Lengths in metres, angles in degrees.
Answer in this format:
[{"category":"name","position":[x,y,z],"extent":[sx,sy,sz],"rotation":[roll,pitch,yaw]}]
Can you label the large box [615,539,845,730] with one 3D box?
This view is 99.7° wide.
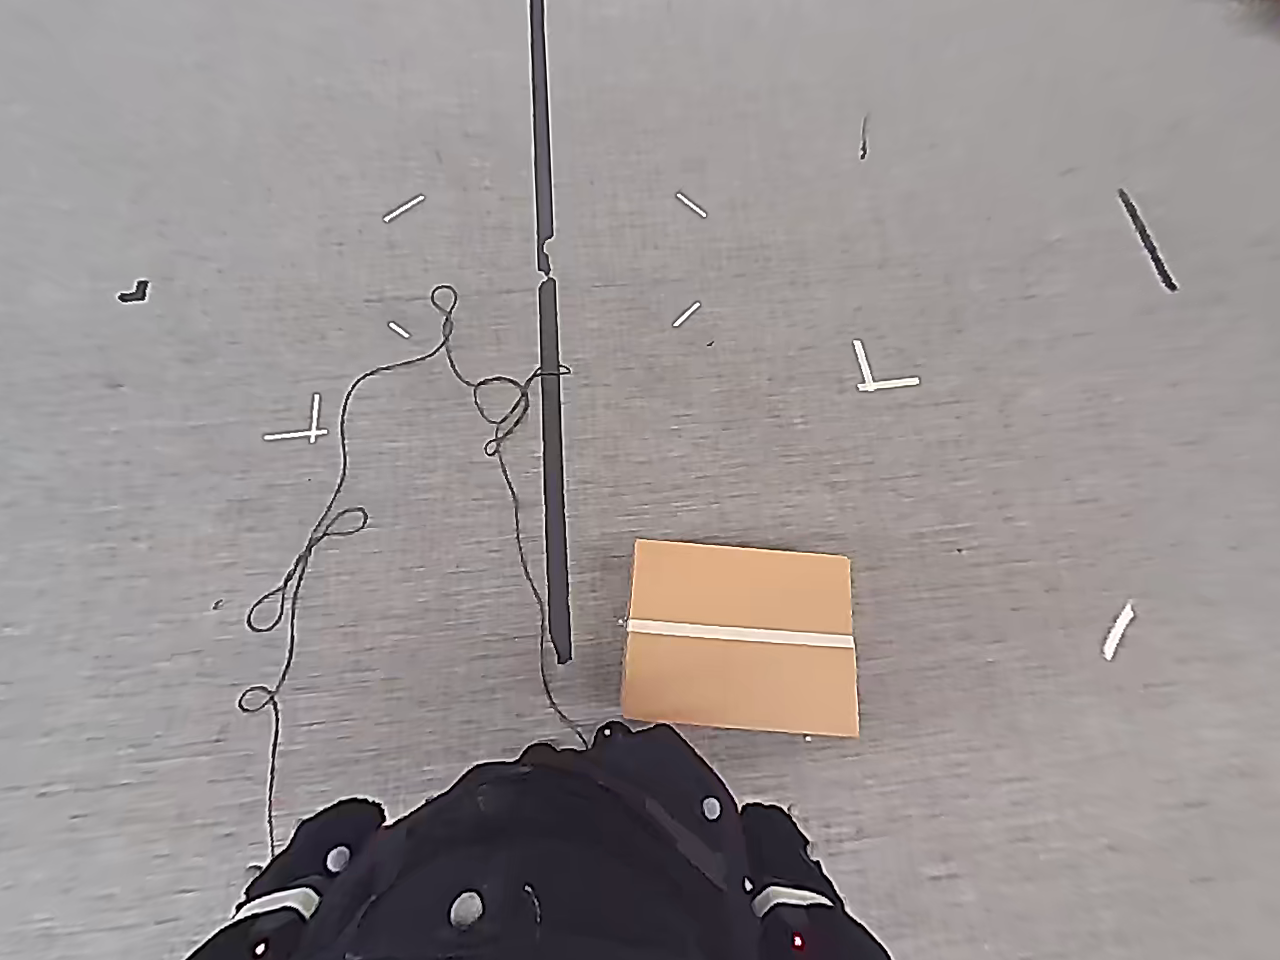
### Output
[{"category":"large box","position":[0.162,0.316,1.112],"extent":[0.408,0.320,0.320],"rotation":[5,70,-1]}]
